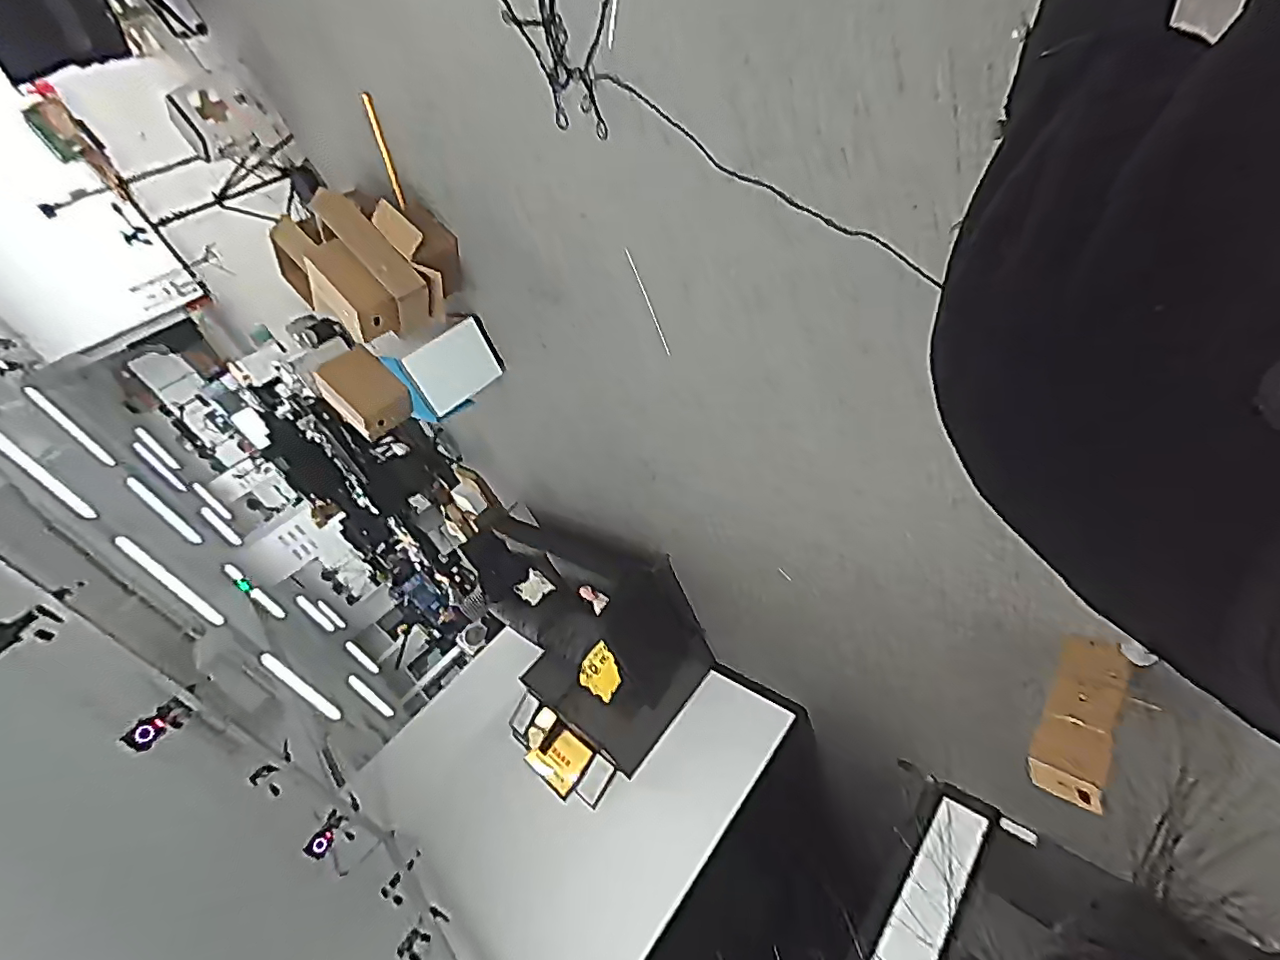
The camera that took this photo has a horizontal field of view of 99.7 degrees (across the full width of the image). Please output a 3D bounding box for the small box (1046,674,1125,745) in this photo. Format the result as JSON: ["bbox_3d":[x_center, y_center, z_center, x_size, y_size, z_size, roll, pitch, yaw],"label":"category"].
[{"bbox_3d":[1.425,0.759,1.730,0.168,0.176,0.179,12,137,49],"label":"small box"}]

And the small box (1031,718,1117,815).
[{"bbox_3d":[1.327,0.867,1.652,0.179,0.176,0.168,12,138,48],"label":"small box"}]
